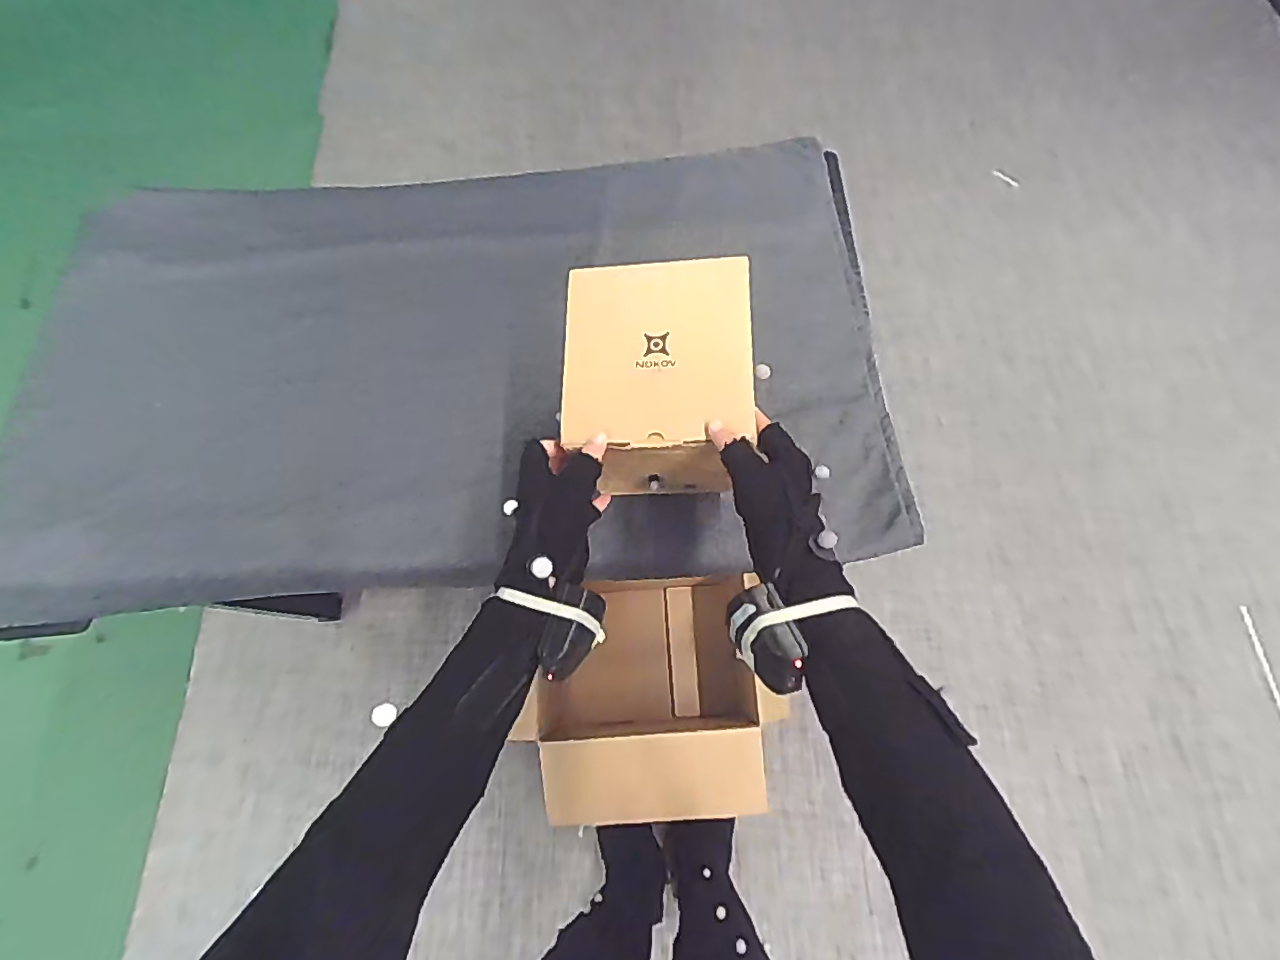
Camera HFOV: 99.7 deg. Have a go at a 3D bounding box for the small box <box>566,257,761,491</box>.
[{"bbox_3d":[0.030,-0.094,0.546,0.168,0.176,0.179,-1,75,8],"label":"small box"}]
